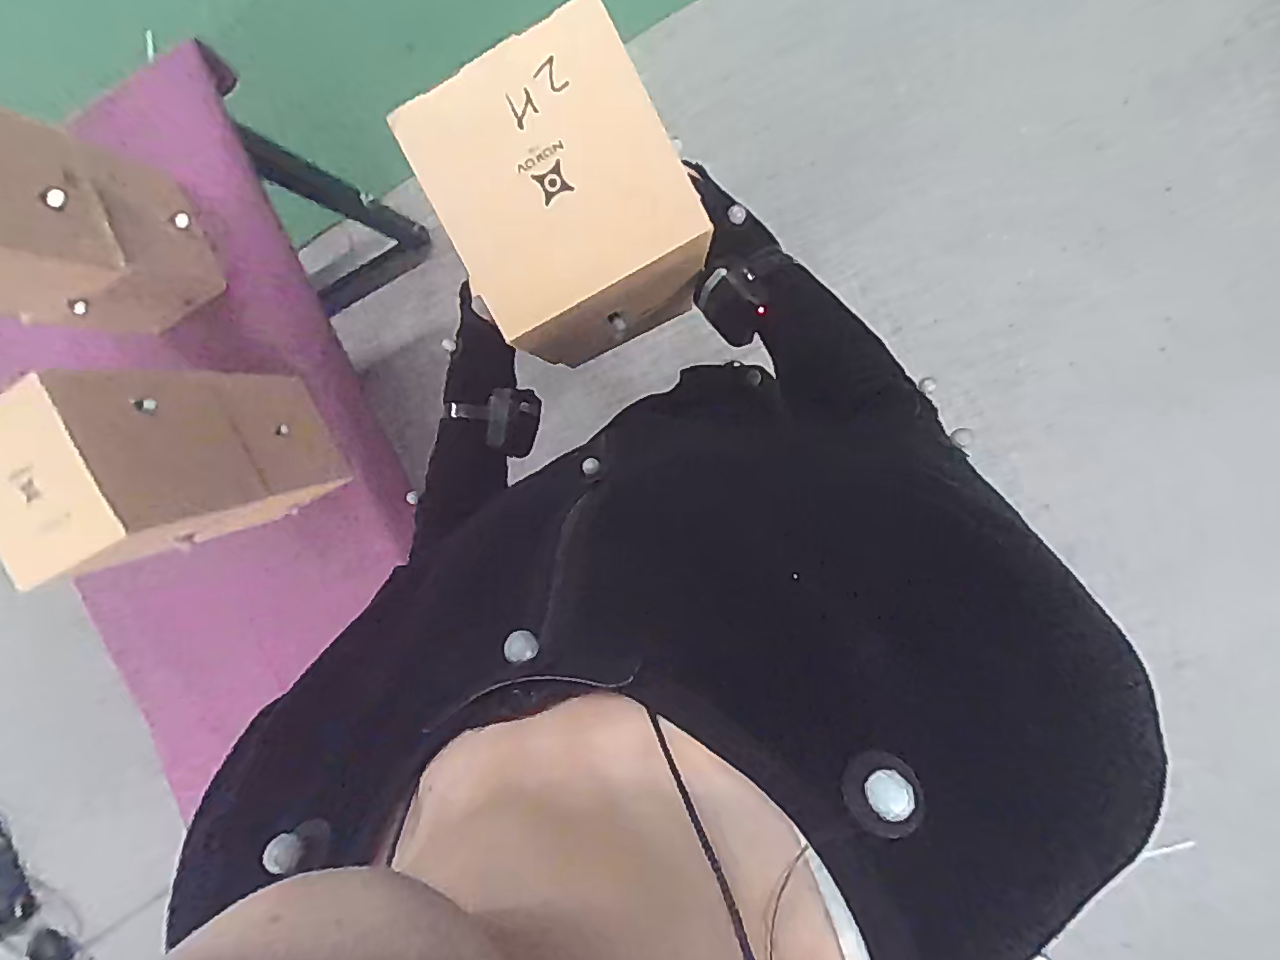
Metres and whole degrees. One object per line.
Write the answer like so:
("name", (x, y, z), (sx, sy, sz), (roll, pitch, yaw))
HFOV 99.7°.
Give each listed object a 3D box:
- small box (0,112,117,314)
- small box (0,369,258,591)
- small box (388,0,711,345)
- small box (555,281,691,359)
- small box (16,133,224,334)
("small box", (-0.744, -0.293, 0.586), (0.179, 0.176, 0.168), (-16, 96, 11))
("small box", (-0.585, -0.007, 0.601), (0.168, 0.176, 0.179), (-23, 95, 13))
("small box", (-0.055, -0.224, 0.439), (0.168, 0.176, 0.179), (-26, 94, 5))
("small box", (-0.048, -0.250, 0.602), (0.179, 0.176, 0.168), (-25, 94, 4))
("small box", (-0.741, -0.322, 0.749), (0.168, 0.176, 0.179), (-24, 94, 13))
